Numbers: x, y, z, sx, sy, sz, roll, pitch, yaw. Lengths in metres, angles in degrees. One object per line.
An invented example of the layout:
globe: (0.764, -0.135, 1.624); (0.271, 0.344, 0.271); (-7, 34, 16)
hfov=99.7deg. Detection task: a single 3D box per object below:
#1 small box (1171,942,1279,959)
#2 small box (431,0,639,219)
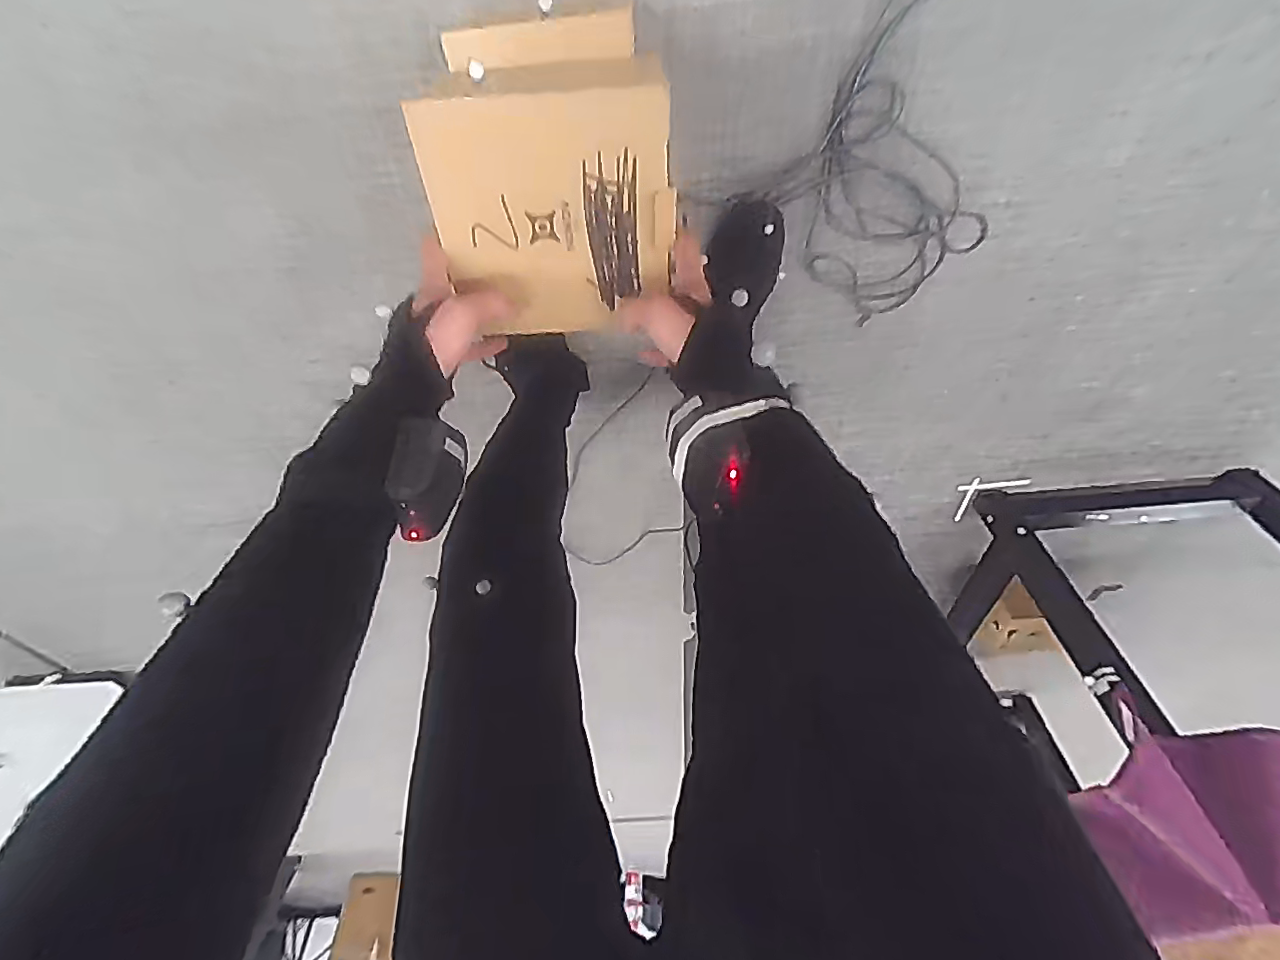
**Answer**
small box: (0.935, 0.764, 0.759); (0.179, 0.176, 0.168); (-4, 134, 2)
small box: (-0.095, -0.403, 0.584); (0.179, 0.176, 0.168); (-5, 135, 3)
